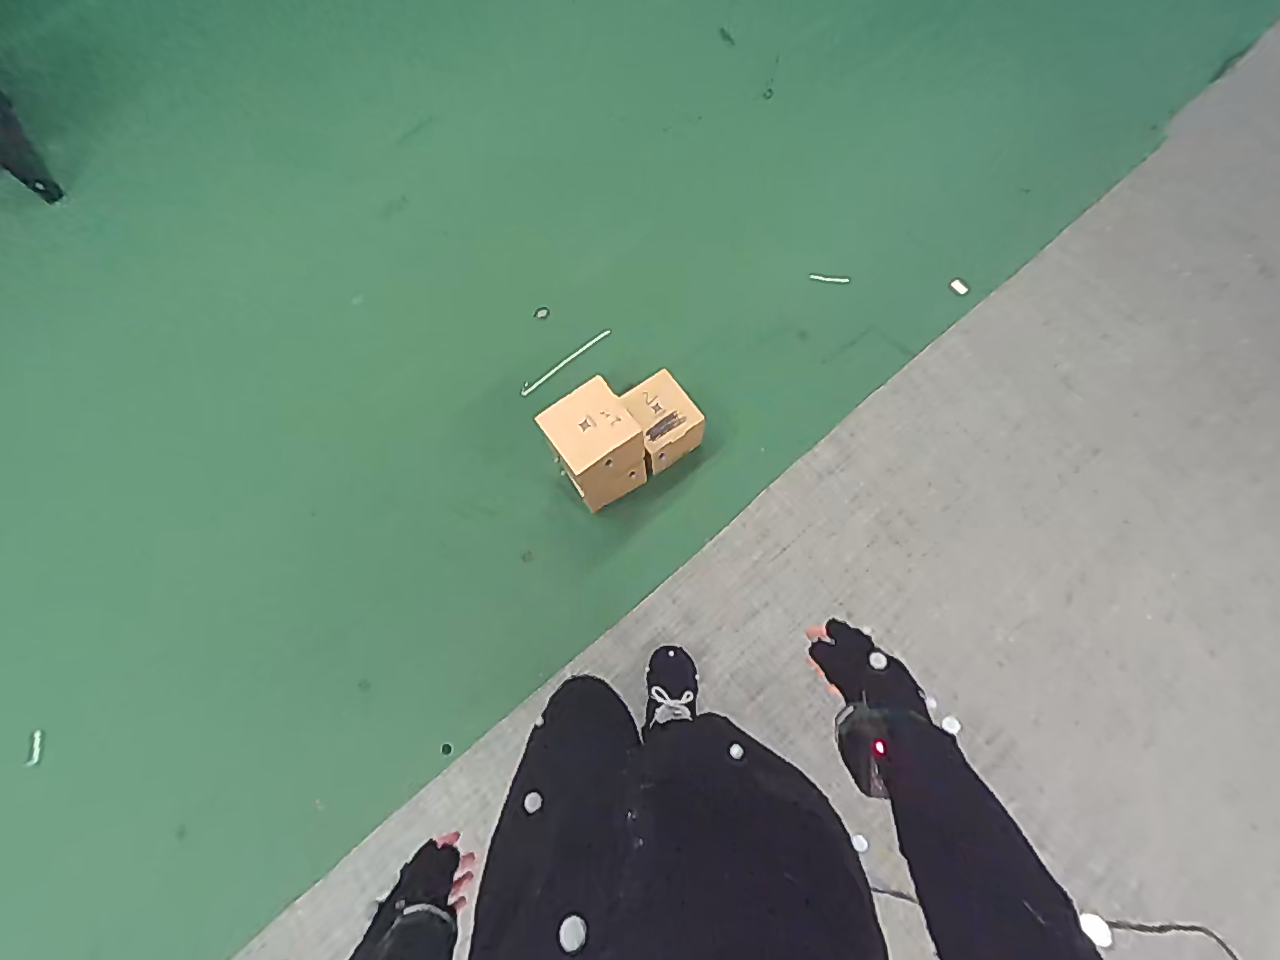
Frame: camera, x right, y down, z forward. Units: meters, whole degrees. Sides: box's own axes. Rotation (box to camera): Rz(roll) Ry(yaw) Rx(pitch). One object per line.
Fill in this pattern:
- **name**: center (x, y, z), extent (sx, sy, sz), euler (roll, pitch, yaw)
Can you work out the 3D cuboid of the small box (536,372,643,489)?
- **small box**: center (-0.105, -0.103, 1.225), extent (0.179, 0.176, 0.168), euler (-35, 75, -9)
